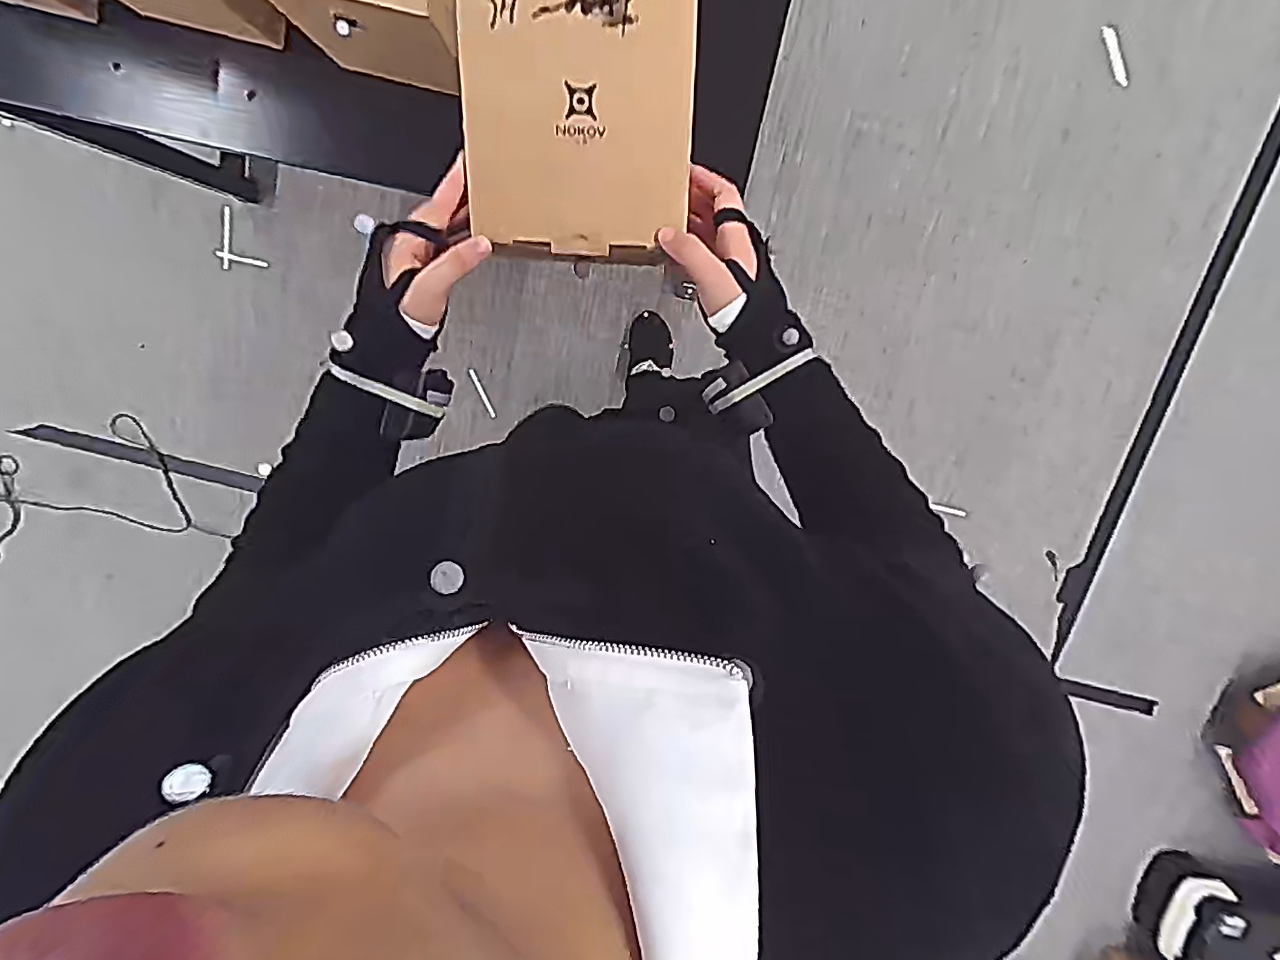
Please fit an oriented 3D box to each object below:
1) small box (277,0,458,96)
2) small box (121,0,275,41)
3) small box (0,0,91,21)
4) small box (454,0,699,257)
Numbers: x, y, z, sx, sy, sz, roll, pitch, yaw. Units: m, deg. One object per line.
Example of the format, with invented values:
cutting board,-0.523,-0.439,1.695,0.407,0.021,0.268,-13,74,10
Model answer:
small box,-0.254,-0.521,0.537,0.179,0.176,0.168,13,103,-1
small box,-0.488,-0.581,0.532,0.179,0.176,0.168,14,103,-1
small box,-0.705,-0.617,0.535,0.168,0.176,0.179,13,104,1
small box,-0.050,-0.287,0.455,0.168,0.176,0.179,1,110,-5
